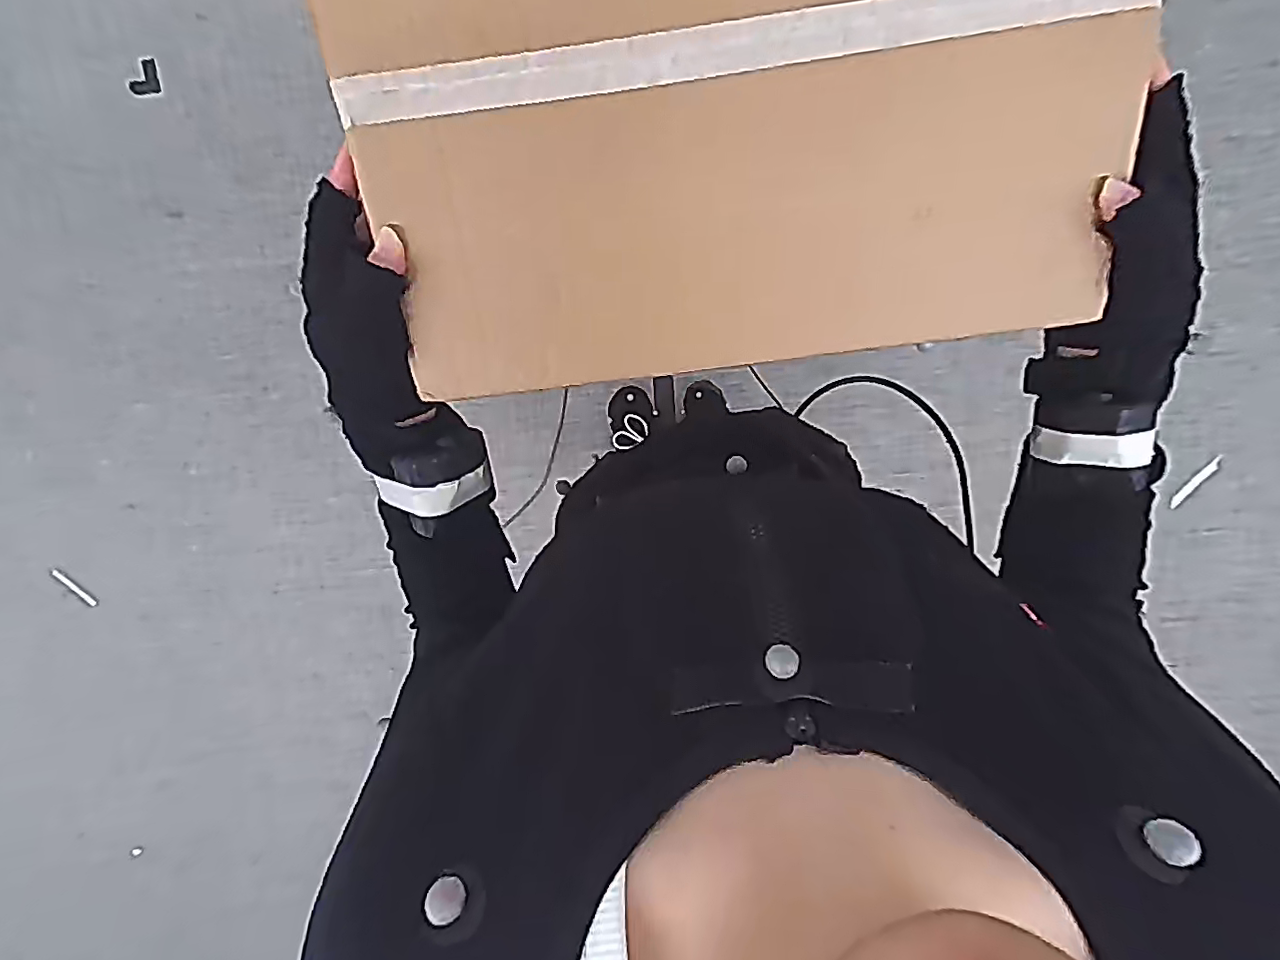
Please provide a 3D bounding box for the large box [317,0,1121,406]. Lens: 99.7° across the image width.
[{"bbox_3d":[0.044,-0.268,0.415,0.408,0.320,0.320,-7,111,2],"label":"large box"}]
